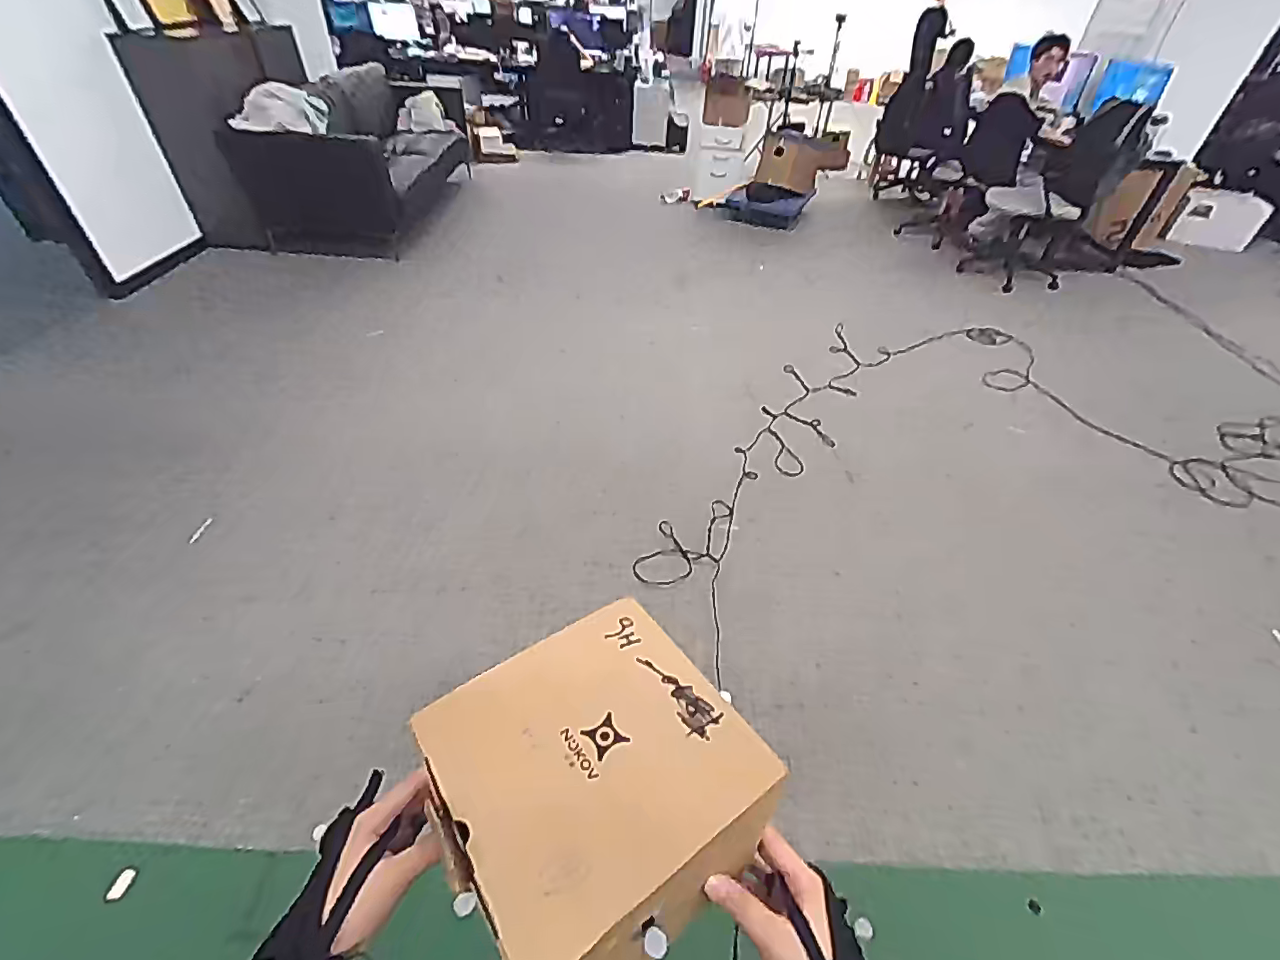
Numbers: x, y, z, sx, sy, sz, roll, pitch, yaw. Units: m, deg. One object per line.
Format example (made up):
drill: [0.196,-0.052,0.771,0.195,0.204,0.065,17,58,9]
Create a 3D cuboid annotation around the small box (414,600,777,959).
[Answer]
small box: [-0.030,0.228,0.386,0.179,0.176,0.168,-24,45,-28]
